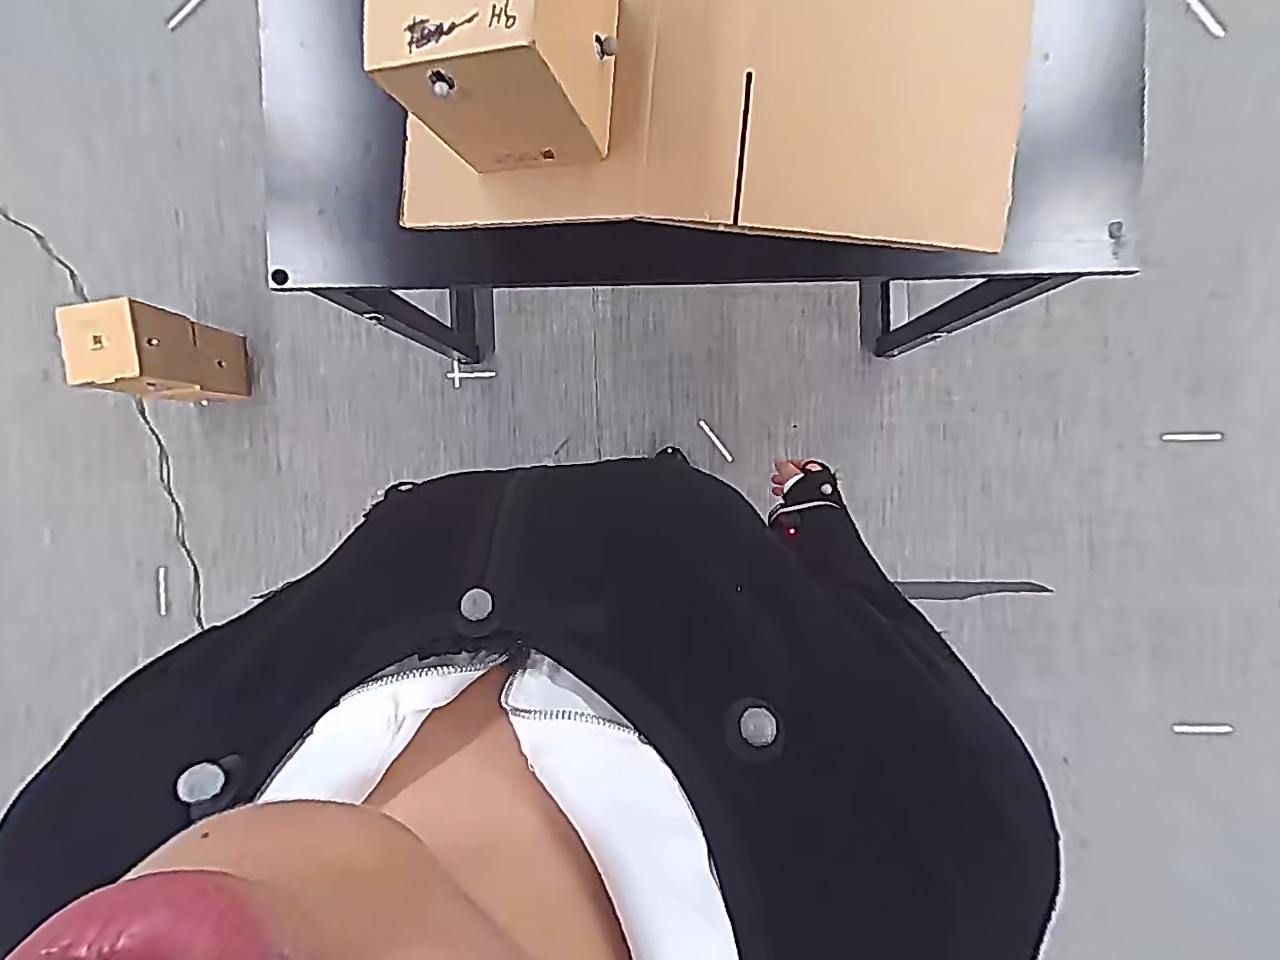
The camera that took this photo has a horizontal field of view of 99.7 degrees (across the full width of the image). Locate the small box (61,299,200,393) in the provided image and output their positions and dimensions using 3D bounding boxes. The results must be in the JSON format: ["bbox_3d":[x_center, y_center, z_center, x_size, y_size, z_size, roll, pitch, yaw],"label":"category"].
[{"bbox_3d":[-1.183,-0.305,1.270,0.168,0.176,0.179,-8,90,1],"label":"small box"}]

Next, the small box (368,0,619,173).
[{"bbox_3d":[-0.126,-0.431,0.519,0.168,0.176,0.179,5,92,17],"label":"small box"}]

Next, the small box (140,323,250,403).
[{"bbox_3d":[-1.178,-0.305,1.433,0.168,0.176,0.179,-4,92,2],"label":"small box"}]
